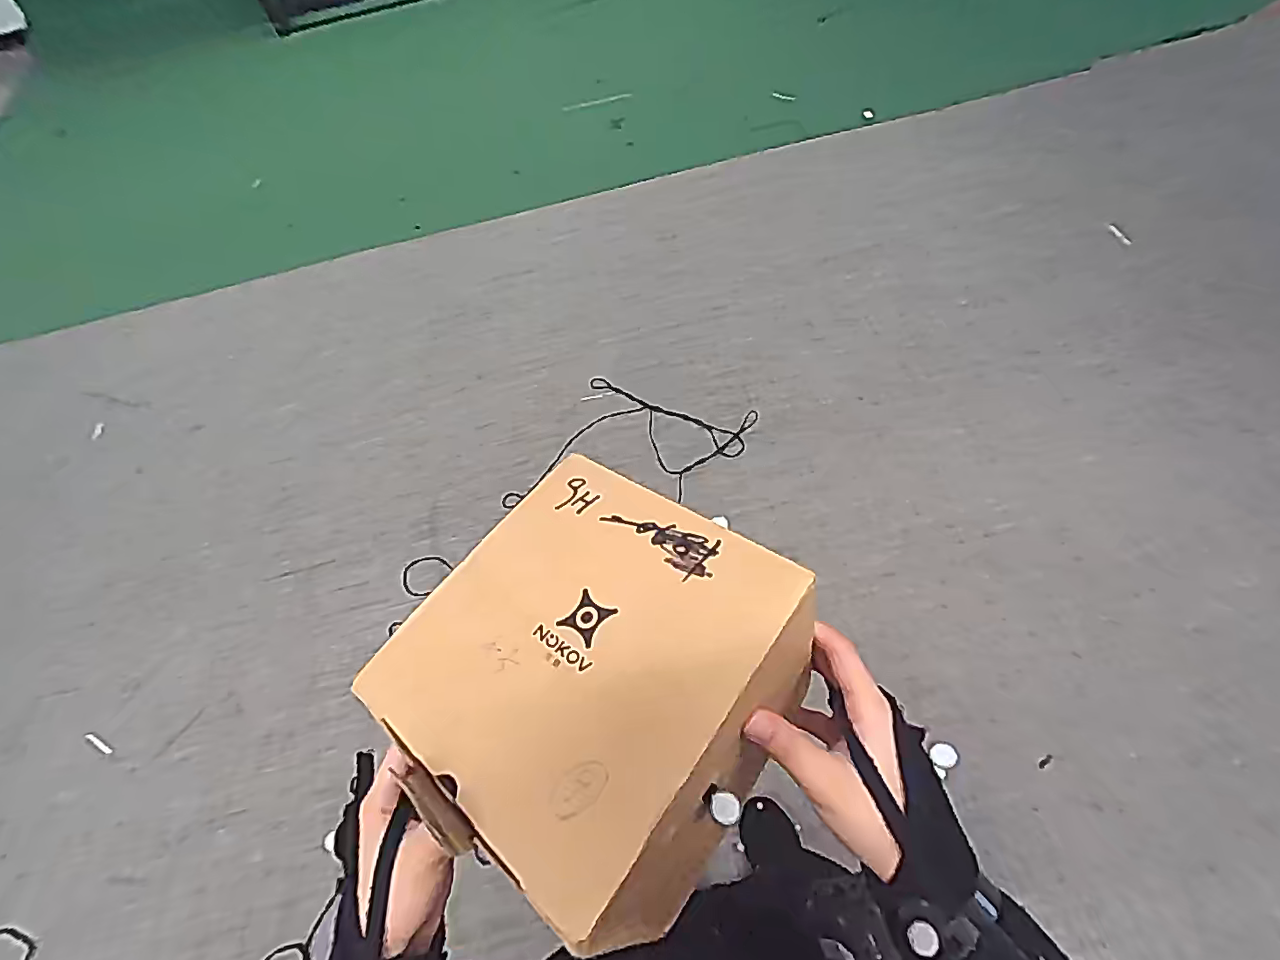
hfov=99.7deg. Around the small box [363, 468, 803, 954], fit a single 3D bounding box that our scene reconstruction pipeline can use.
[{"bbox_3d":[-0.014,0.130,0.329,0.168,0.176,0.179,26,64,31],"label":"small box"}]
